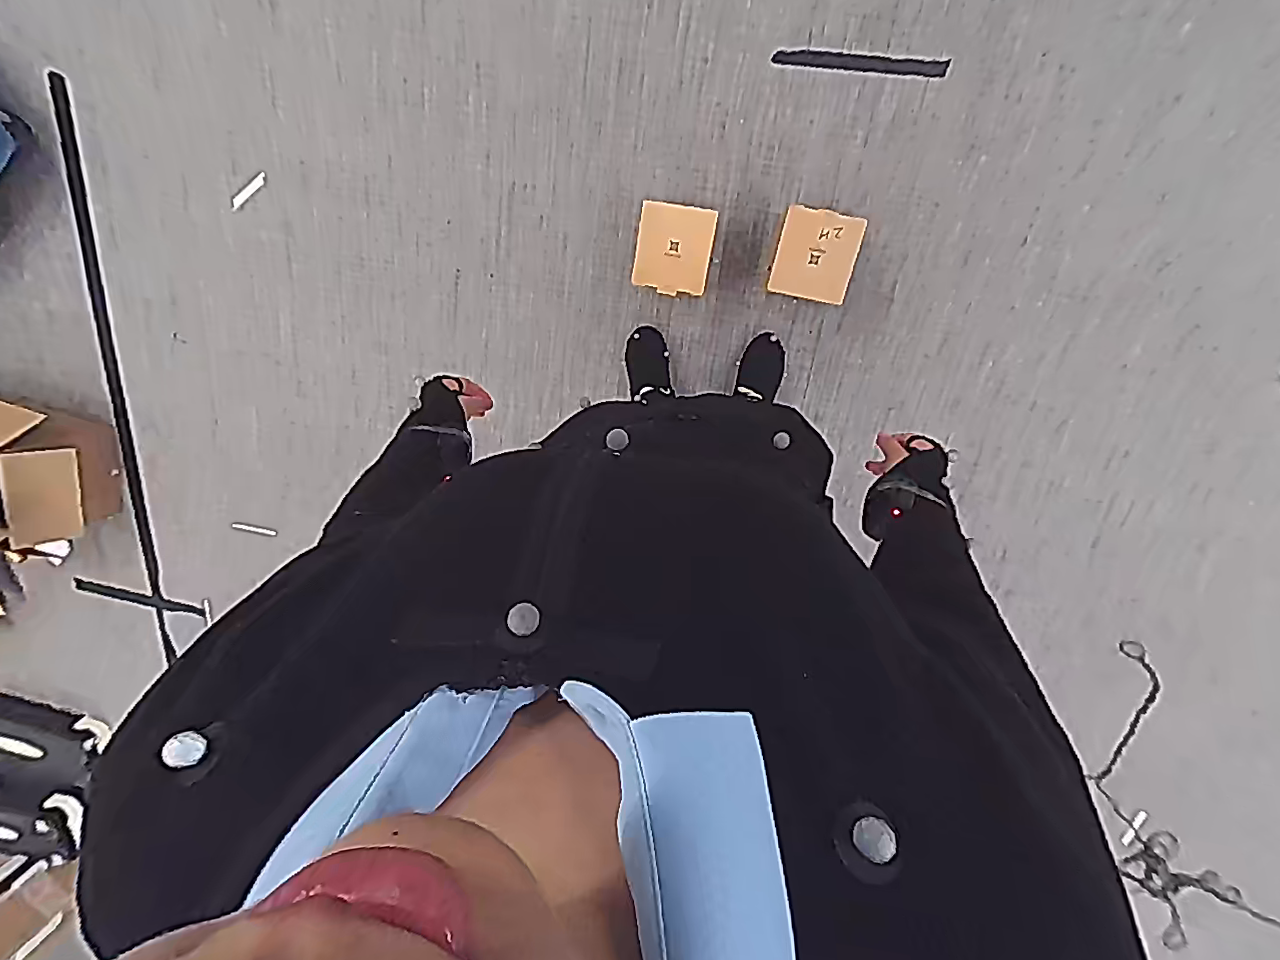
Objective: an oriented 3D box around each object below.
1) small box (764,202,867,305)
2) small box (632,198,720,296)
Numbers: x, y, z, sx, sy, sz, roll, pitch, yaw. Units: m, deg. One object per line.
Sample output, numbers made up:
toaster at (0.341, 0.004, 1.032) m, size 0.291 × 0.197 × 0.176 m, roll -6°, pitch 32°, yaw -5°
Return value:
small box at (0.380, -0.499, 1.209) m, size 0.168 × 0.176 × 0.179 m, roll 14°, pitch 110°, yaw 3°
small box at (0.085, -0.529, 1.246) m, size 0.168 × 0.176 × 0.179 m, roll 11°, pitch 110°, yaw 5°
